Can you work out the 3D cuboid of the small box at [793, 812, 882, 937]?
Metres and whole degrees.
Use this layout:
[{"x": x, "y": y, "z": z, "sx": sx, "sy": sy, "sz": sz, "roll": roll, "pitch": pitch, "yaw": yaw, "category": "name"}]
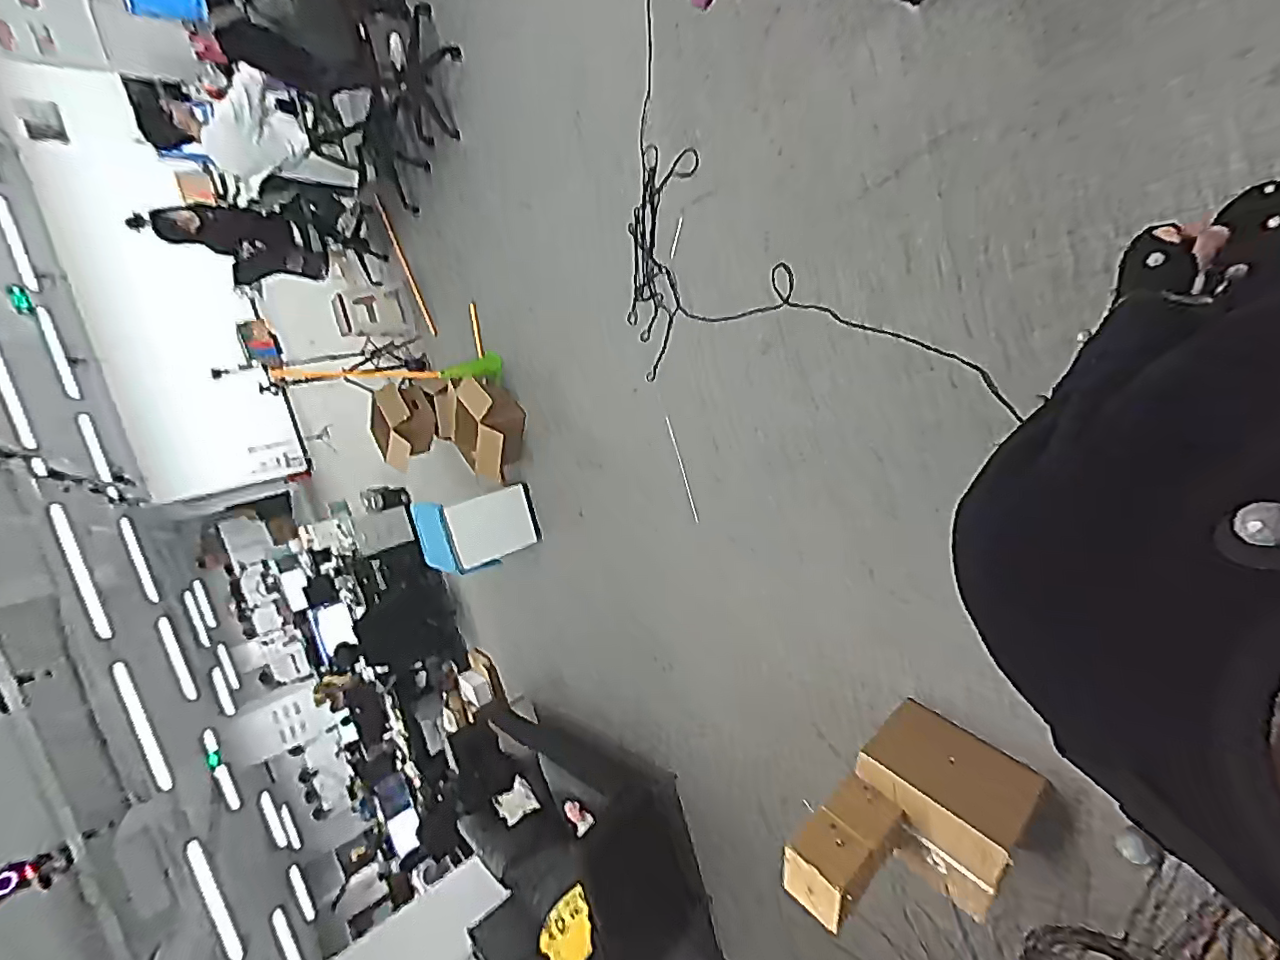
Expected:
[{"x": 0.539, "y": 1.066, "z": 1.474, "sx": 0.168, "sy": 0.176, "sz": 0.179, "roll": 19, "pitch": 121, "yaw": 47, "category": "small box"}]
